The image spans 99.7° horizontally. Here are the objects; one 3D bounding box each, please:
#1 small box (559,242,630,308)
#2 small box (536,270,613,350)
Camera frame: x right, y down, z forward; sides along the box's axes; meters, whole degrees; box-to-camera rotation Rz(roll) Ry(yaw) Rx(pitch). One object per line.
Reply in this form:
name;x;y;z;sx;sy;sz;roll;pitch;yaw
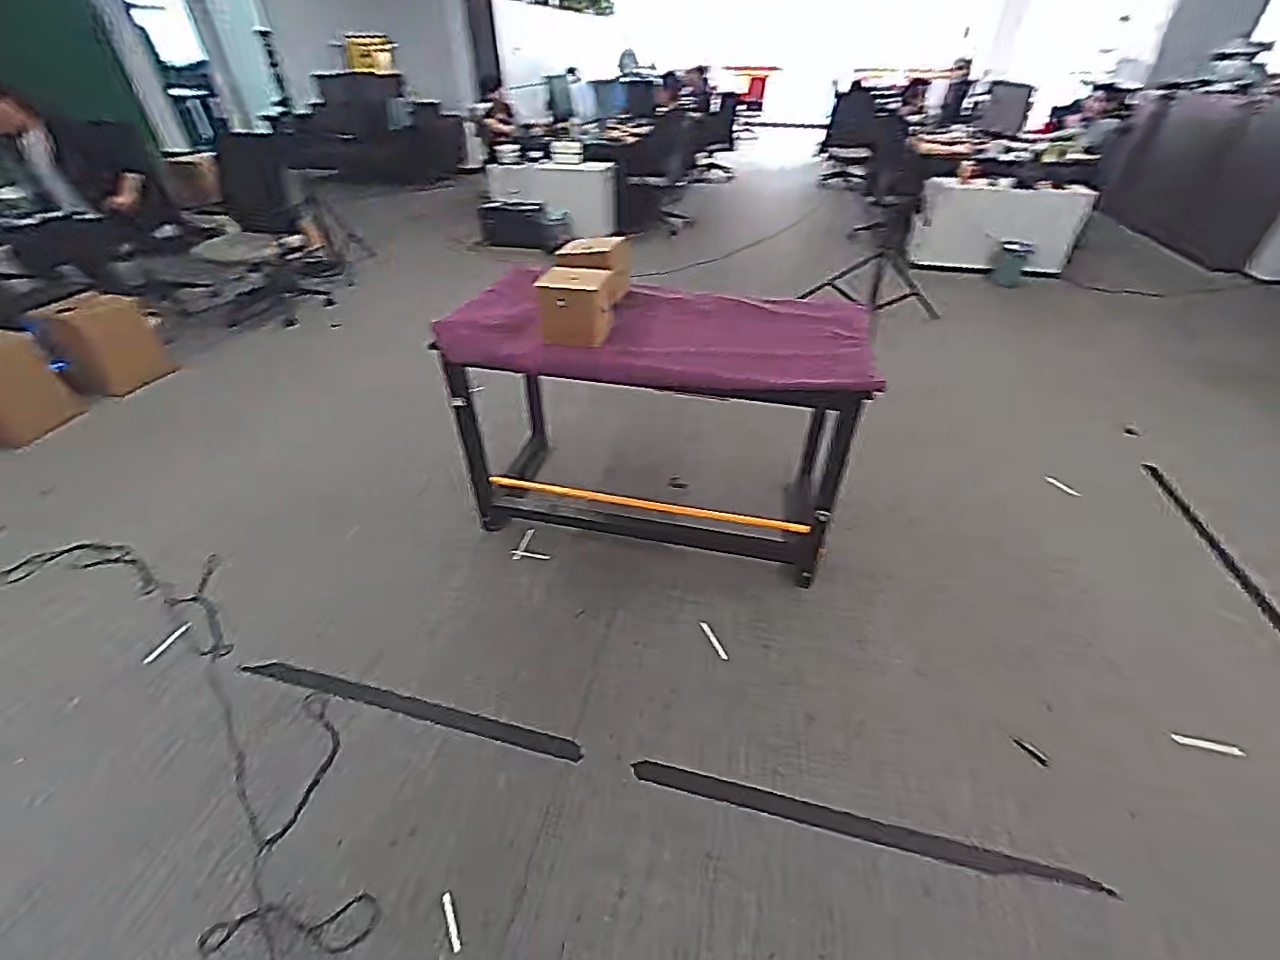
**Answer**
small box;-0.139;-0.664;1.749;0.179;0.168;0.176;5;37;17
small box;-0.178;-0.484;1.544;0.179;0.176;0.168;7;39;9
